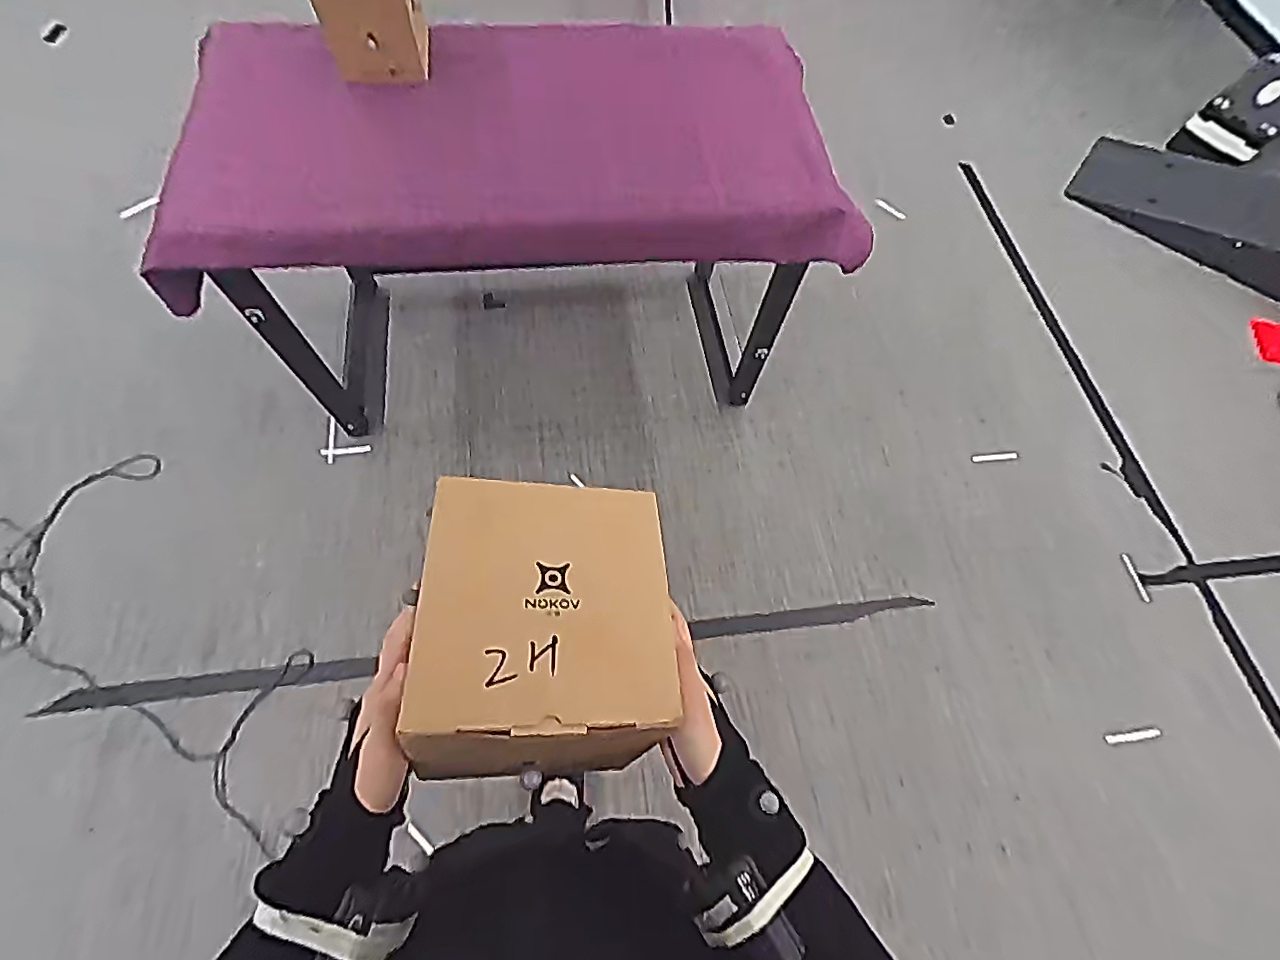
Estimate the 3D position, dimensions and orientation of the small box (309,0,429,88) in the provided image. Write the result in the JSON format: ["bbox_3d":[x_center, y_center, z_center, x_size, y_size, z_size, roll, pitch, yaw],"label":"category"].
[{"bbox_3d":[-0.515,-0.897,1.048,0.168,0.176,0.179,-6,69,-7],"label":"small box"}]

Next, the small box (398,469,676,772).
[{"bbox_3d":[-0.081,0.116,0.426,0.168,0.176,0.179,5,53,-13],"label":"small box"}]
